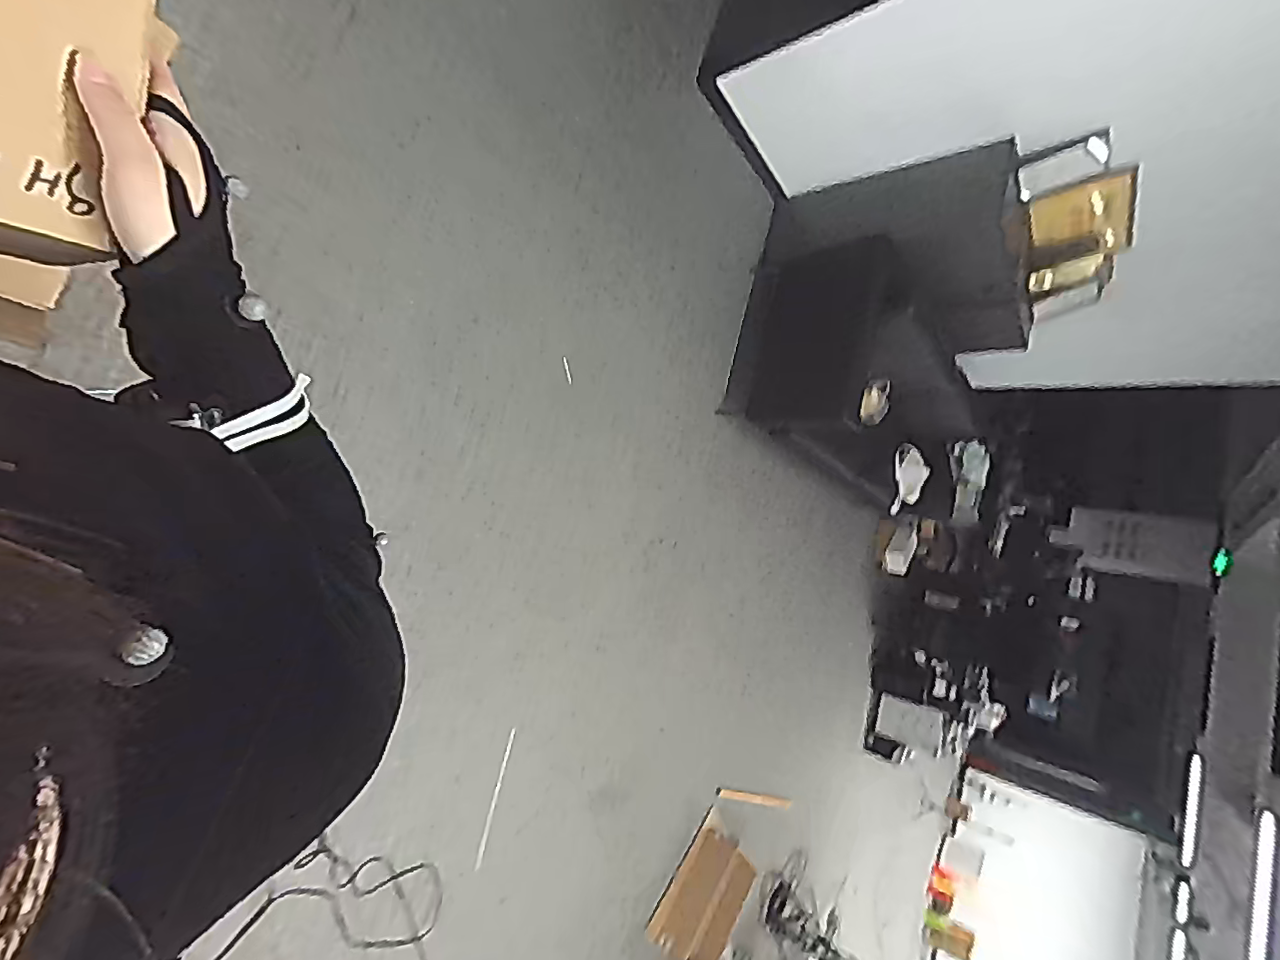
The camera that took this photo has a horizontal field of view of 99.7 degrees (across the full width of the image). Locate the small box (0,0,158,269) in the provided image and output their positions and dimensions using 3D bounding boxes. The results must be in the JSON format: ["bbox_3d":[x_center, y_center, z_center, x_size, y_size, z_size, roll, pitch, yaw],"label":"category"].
[{"bbox_3d":[-0.378,-0.221,0.269,0.168,0.176,0.179,2,99,-57],"label":"small box"}]

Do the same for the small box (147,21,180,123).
[{"bbox_3d":[-0.604,-0.408,0.533,0.179,0.176,0.168,24,77,-46],"label":"small box"}]
